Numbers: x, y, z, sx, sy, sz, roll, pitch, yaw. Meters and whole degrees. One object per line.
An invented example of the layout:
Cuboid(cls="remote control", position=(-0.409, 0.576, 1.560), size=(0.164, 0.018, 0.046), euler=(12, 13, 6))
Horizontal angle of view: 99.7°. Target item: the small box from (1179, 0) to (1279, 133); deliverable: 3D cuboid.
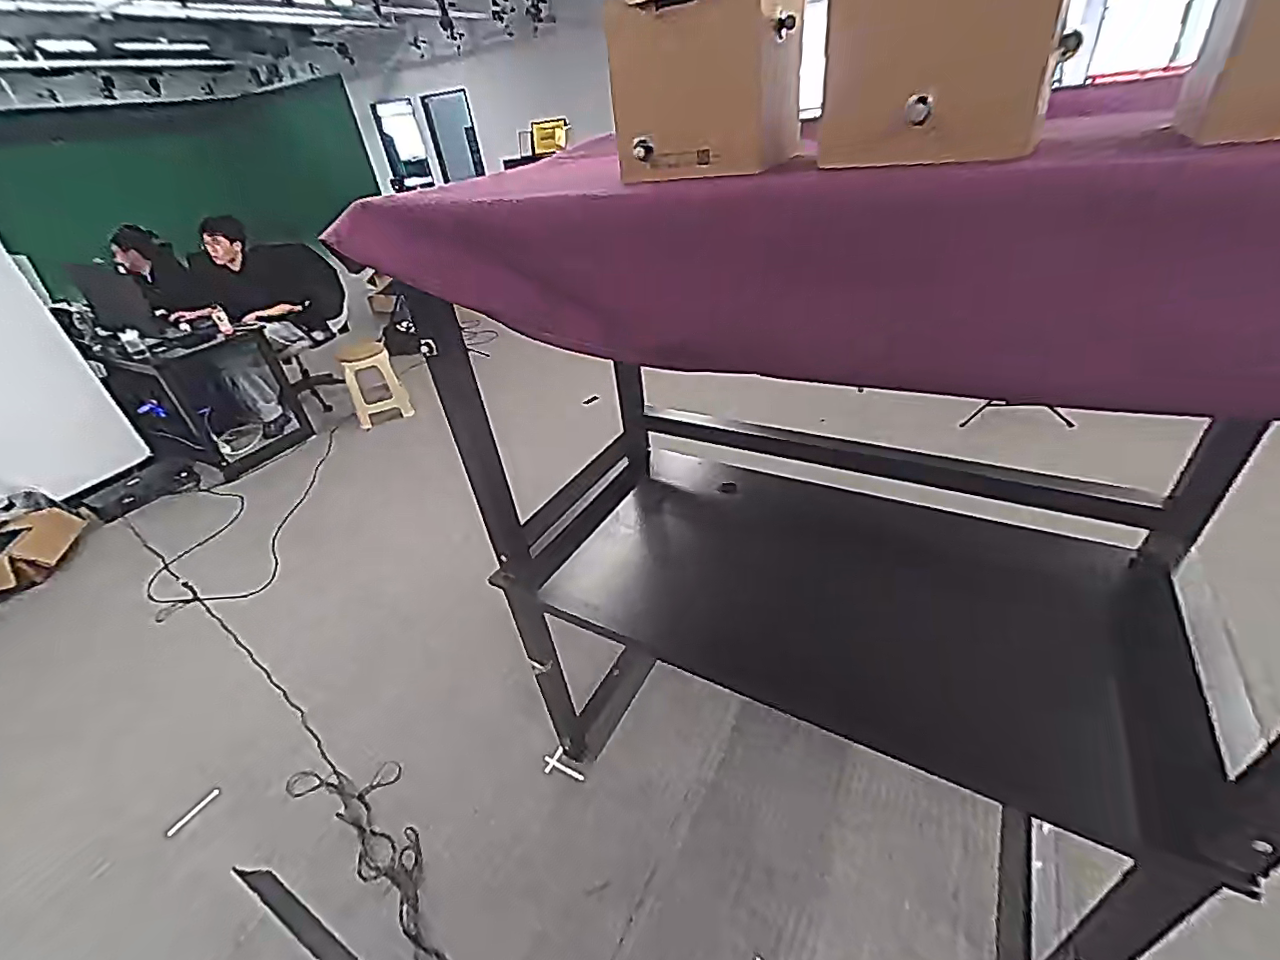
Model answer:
Cuboid(cls="small box", position=(0.507, -0.340, 0.361), size=(0.168, 0.176, 0.179), euler=(15, 40, 31))

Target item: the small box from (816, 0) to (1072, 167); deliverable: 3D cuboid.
Cuboid(cls="small box", position=(0.274, -0.391, 0.486), size=(0.179, 0.176, 0.168), euler=(16, 40, 30))

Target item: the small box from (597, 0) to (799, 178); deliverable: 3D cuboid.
Cuboid(cls="small box", position=(0.076, -0.440, 0.599), size=(0.168, 0.176, 0.179), euler=(11, 37, 25))
